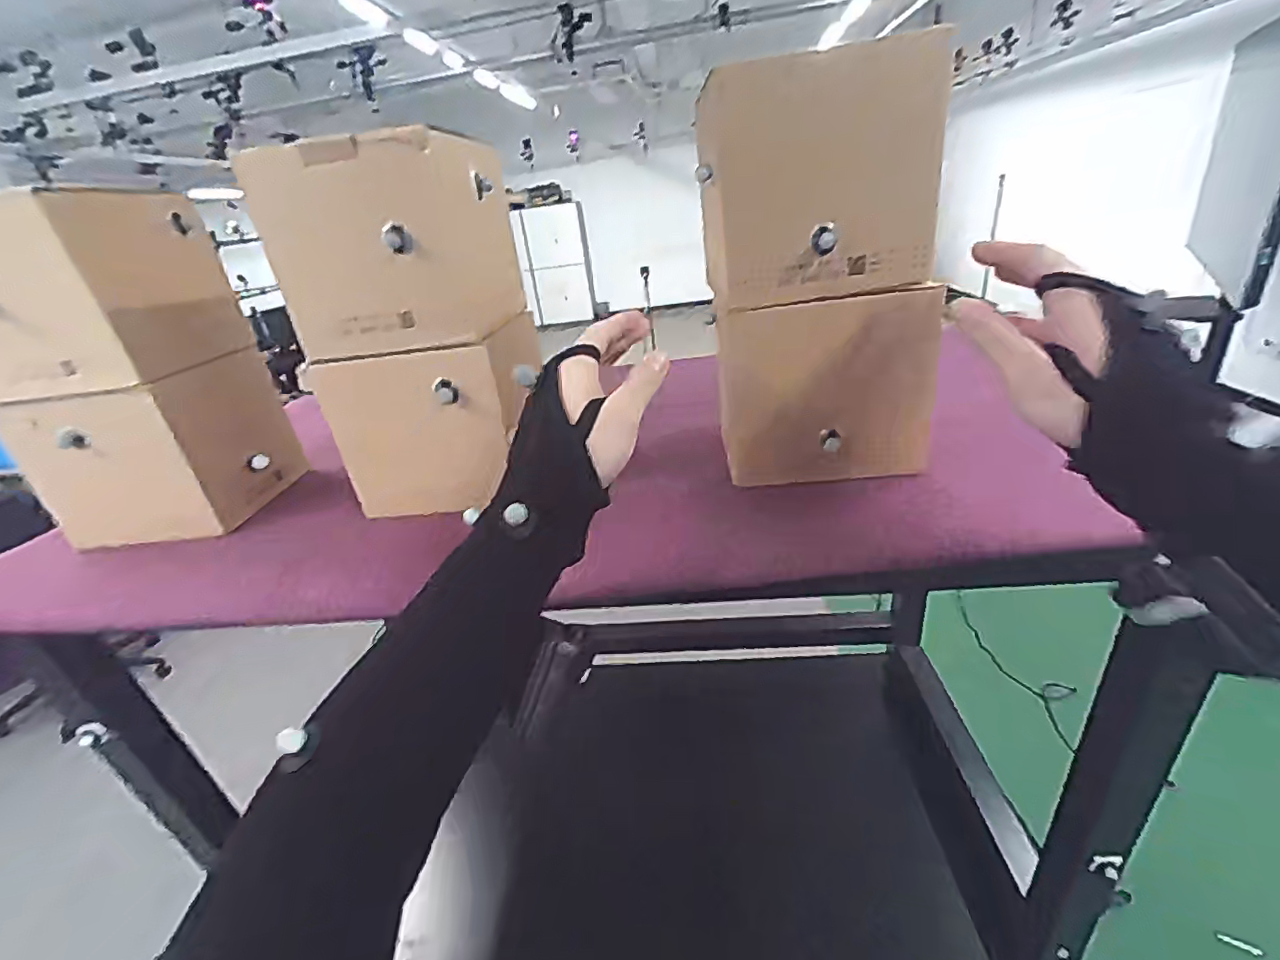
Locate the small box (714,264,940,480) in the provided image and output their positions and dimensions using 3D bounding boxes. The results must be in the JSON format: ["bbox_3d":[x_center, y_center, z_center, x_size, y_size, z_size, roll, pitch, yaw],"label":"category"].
[{"bbox_3d":[0.167,-0.111,0.540,0.179,0.176,0.168,-5,25,7],"label":"small box"}]

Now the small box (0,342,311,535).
[{"bbox_3d":[-0.530,-0.049,0.621,0.179,0.176,0.168,-5,27,4],"label":"small box"}]

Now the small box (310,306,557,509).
[{"bbox_3d":[-0.201,-0.081,0.589,0.179,0.176,0.168,-5,26,8],"label":"small box"}]

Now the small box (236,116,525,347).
[{"bbox_3d":[-0.223,-0.229,0.524,0.168,0.176,0.179,-4,26,7],"label":"small box"}]

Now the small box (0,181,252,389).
[{"bbox_3d":[-0.550,-0.194,0.553,0.168,0.176,0.179,-6,26,4],"label":"small box"}]
